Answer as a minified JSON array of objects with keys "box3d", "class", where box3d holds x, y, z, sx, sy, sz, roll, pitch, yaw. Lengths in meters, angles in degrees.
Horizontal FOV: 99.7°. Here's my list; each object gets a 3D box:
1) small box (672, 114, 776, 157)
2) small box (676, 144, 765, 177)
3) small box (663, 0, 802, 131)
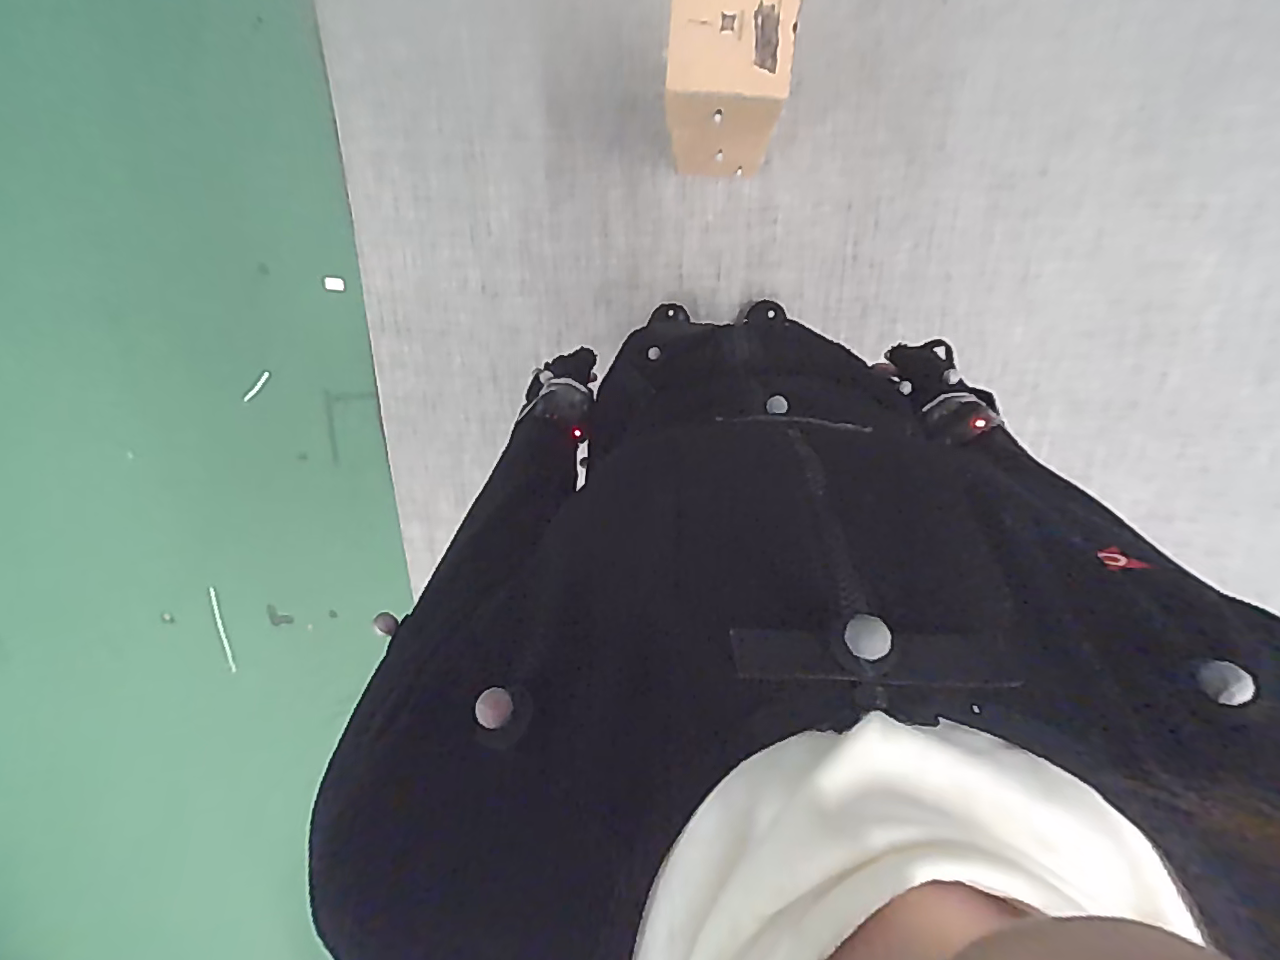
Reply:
[{"box3d":[0.151,-0.695,0.969,0.179,0.176,0.168,5,108,3],"class":"small box"},{"box3d":[0.167,-0.743,1.125,0.179,0.176,0.168,3,108,5],"class":"small box"},{"box3d":[0.134,-0.645,0.813,0.179,0.176,0.168,8,109,4],"class":"small box"}]
